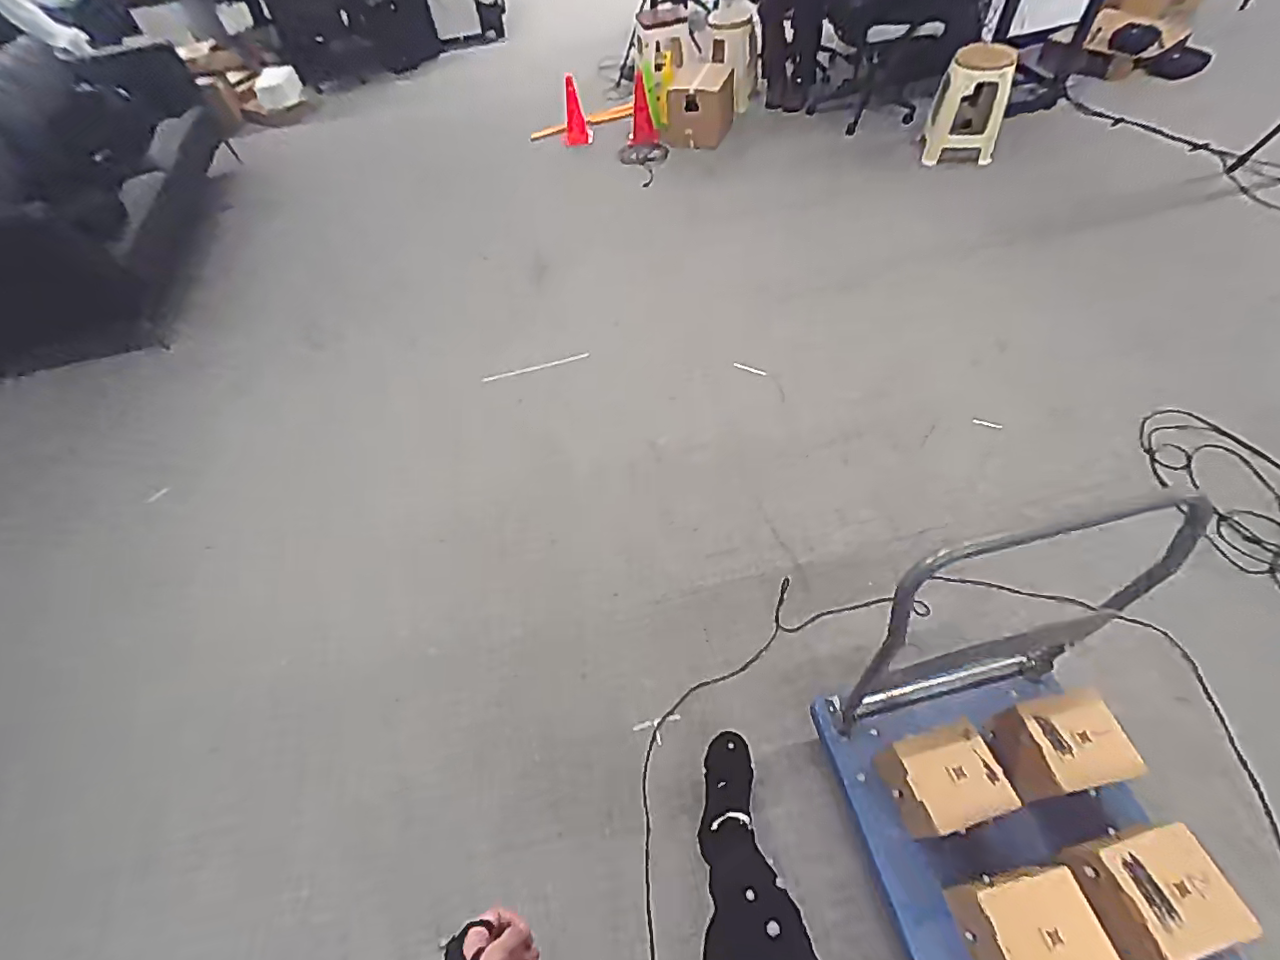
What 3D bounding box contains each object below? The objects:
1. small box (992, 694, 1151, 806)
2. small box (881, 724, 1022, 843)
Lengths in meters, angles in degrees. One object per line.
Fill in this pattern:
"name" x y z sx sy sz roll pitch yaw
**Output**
"small box" 0.876 0.567 1.127 0.179 0.176 0.168 -11 54 -2
"small box" 0.620 0.628 1.112 0.179 0.176 0.168 -15 54 -4
